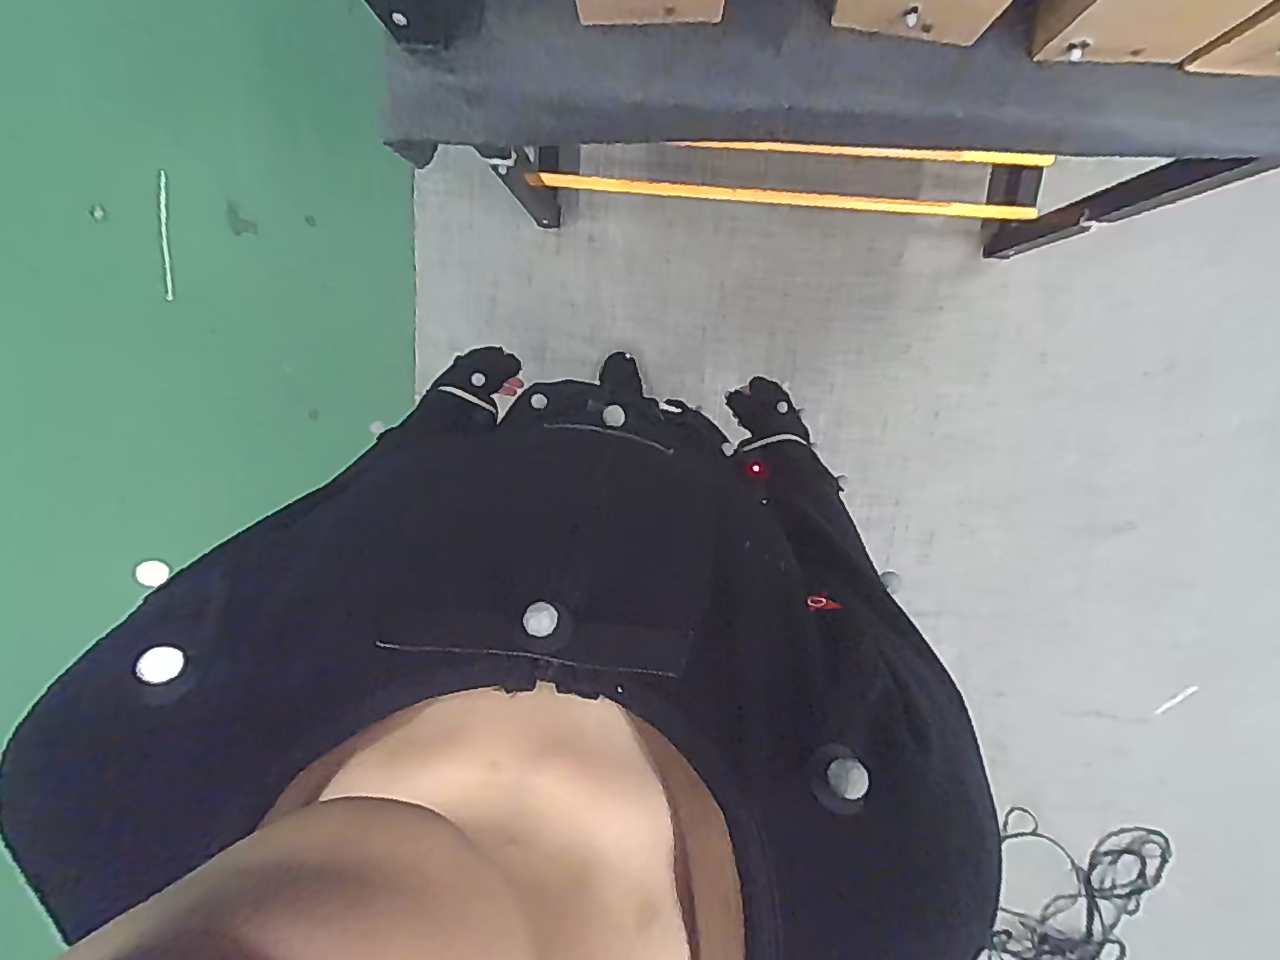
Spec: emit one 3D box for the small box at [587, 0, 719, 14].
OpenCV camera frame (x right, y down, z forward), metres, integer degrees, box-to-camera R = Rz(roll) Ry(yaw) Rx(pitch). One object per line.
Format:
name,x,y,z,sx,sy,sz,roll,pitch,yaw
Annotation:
small box,0.008,-0.604,0.531,0.168,0.176,0.179,0,100,1
